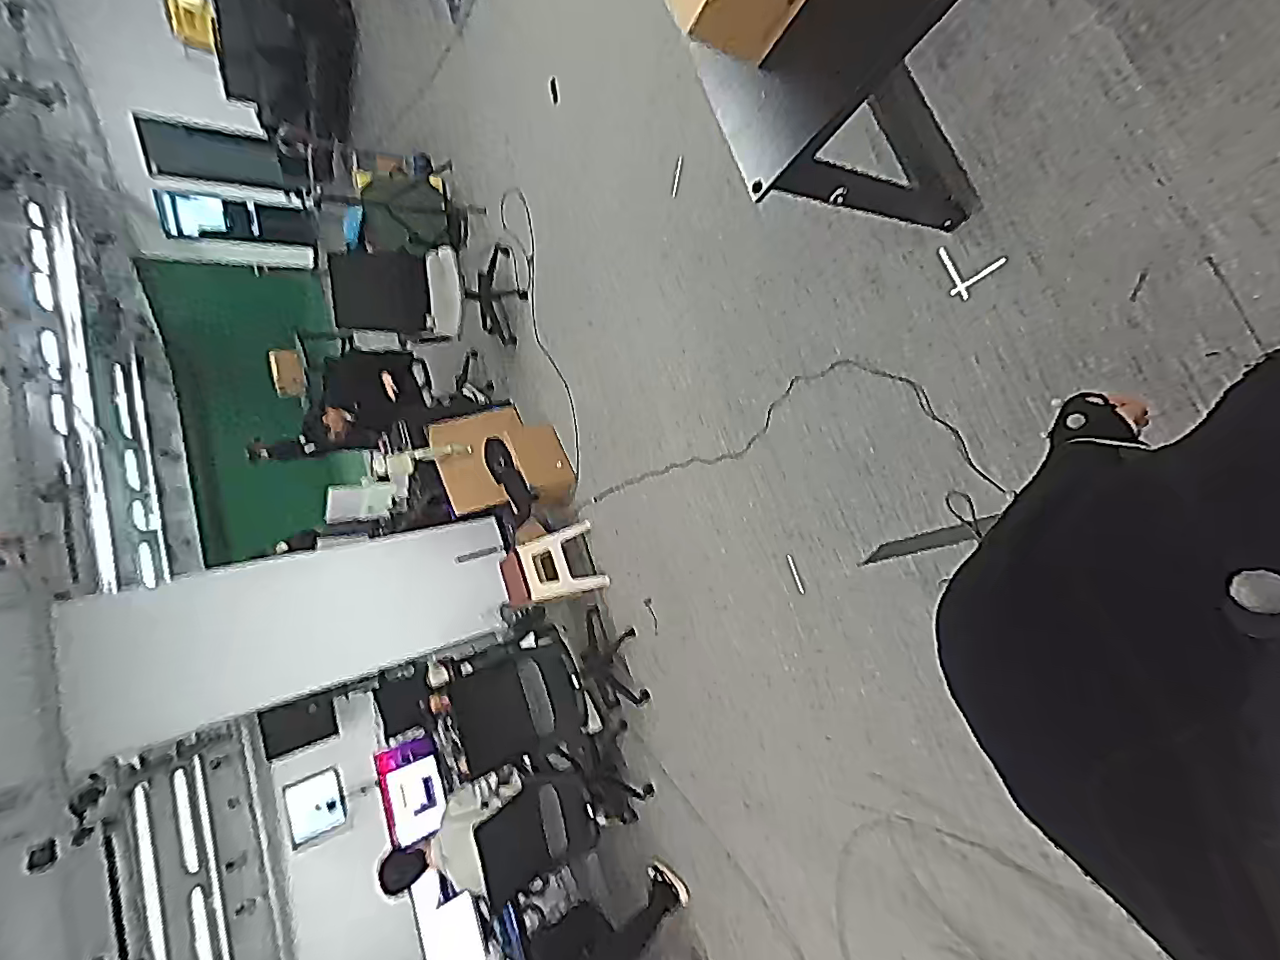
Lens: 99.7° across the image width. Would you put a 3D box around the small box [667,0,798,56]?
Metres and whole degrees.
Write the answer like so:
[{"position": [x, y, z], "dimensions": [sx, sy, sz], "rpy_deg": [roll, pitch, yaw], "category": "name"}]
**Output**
[{"position": [0.146, -0.803, 0.834], "dimensions": [0.168, 0.176, 0.179], "rpy_deg": [-35, 69, 51], "category": "small box"}]
